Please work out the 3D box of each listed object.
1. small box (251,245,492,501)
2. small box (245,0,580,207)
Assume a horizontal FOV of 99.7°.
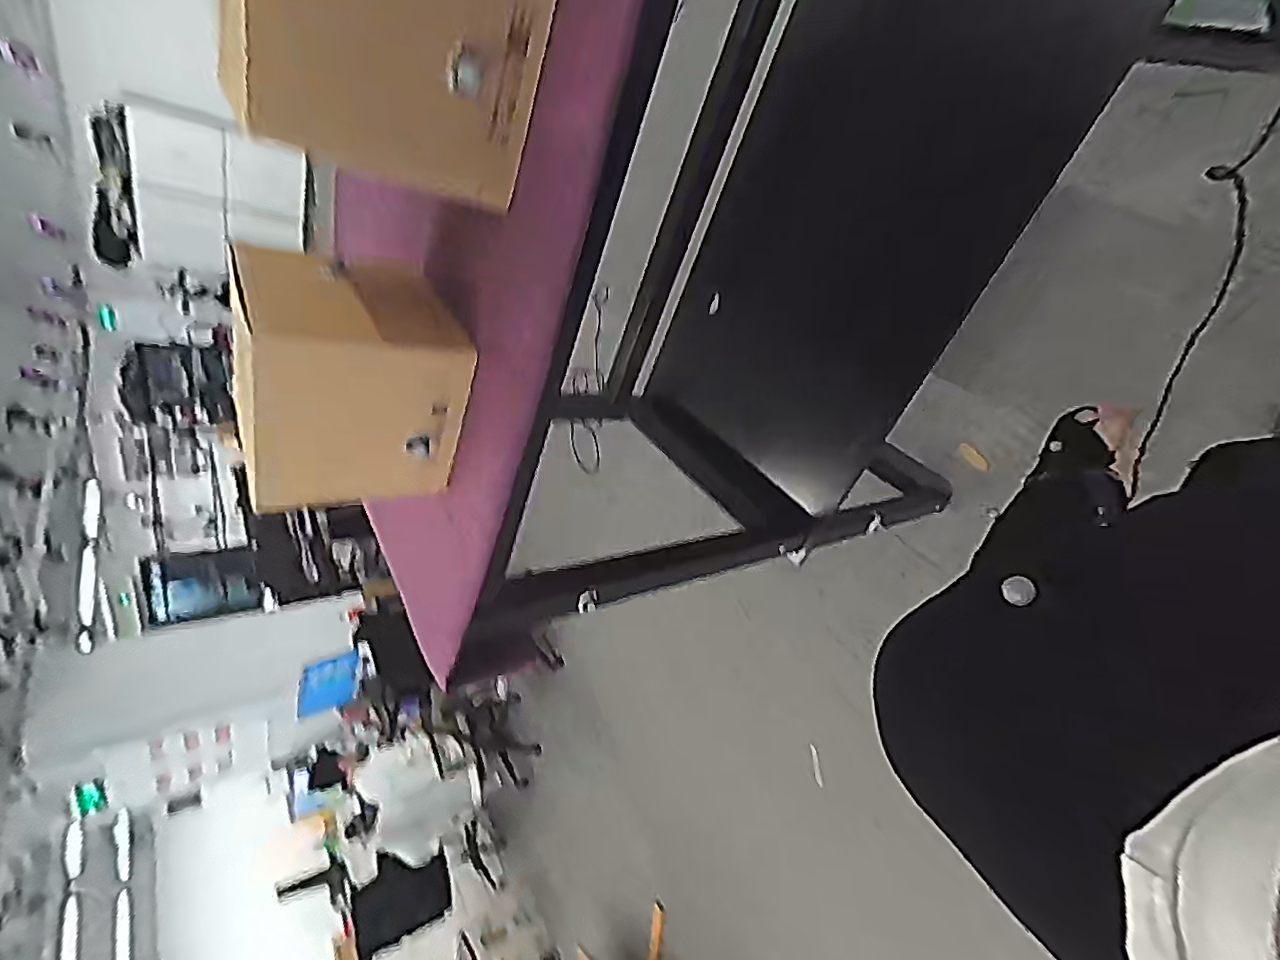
[{"bbox_3d":[-0.266,-0.099,0.523,0.179,0.176,0.168,51,130,35],"label":"small box"},{"bbox_3d":[-0.169,-0.319,0.384,0.179,0.176,0.168,49,129,35],"label":"small box"}]
